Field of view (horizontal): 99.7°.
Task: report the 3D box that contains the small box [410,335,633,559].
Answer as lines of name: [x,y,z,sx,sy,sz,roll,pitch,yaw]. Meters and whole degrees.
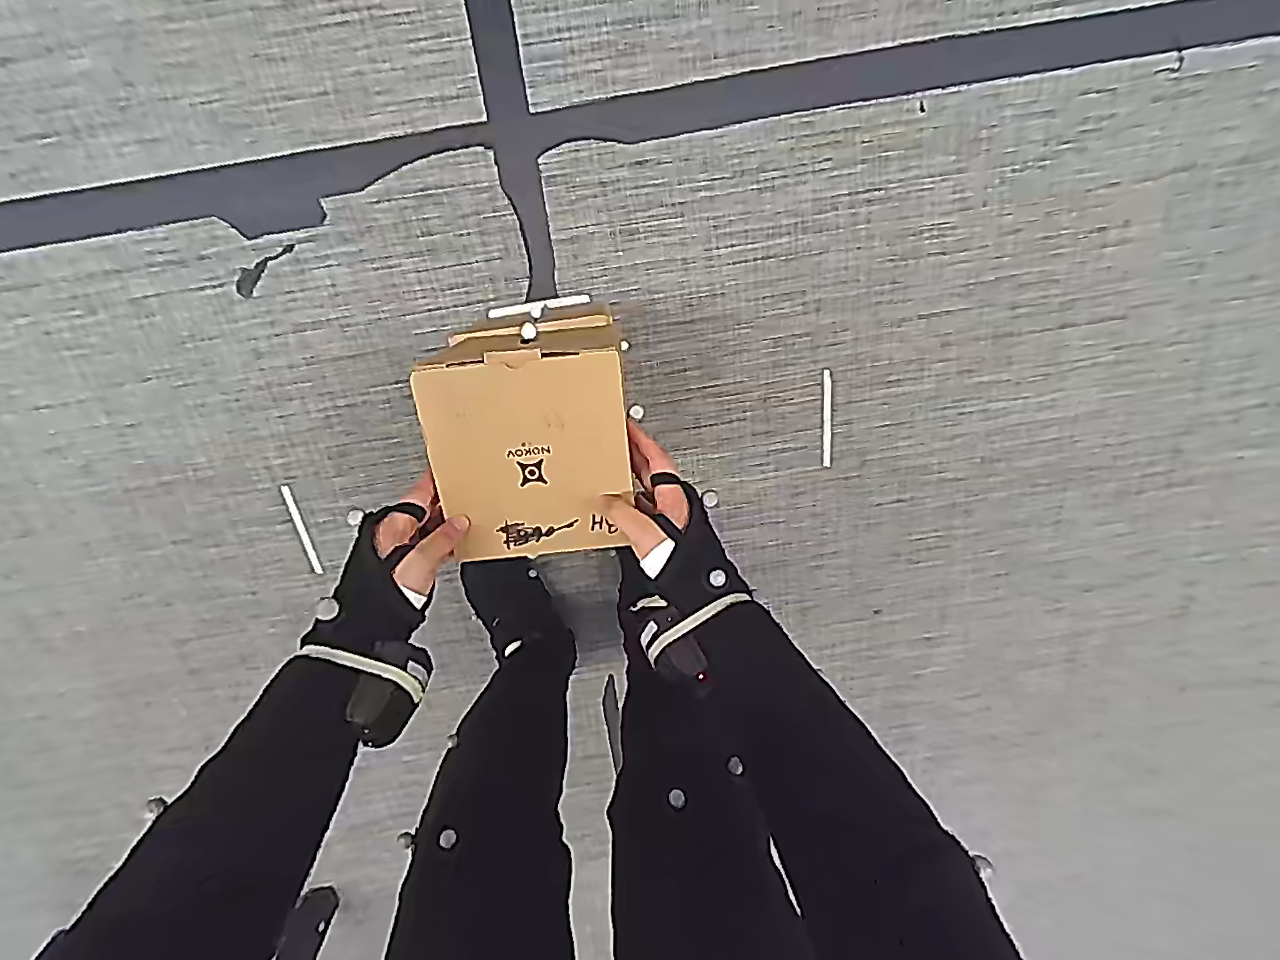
small box: [-0.099,-0.045,0.530,0.168,0.176,0.179,-6,111,0]

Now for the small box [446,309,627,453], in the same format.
small box: [-0.118,-0.116,0.682,0.179,0.176,0.168,-9,111,0]
